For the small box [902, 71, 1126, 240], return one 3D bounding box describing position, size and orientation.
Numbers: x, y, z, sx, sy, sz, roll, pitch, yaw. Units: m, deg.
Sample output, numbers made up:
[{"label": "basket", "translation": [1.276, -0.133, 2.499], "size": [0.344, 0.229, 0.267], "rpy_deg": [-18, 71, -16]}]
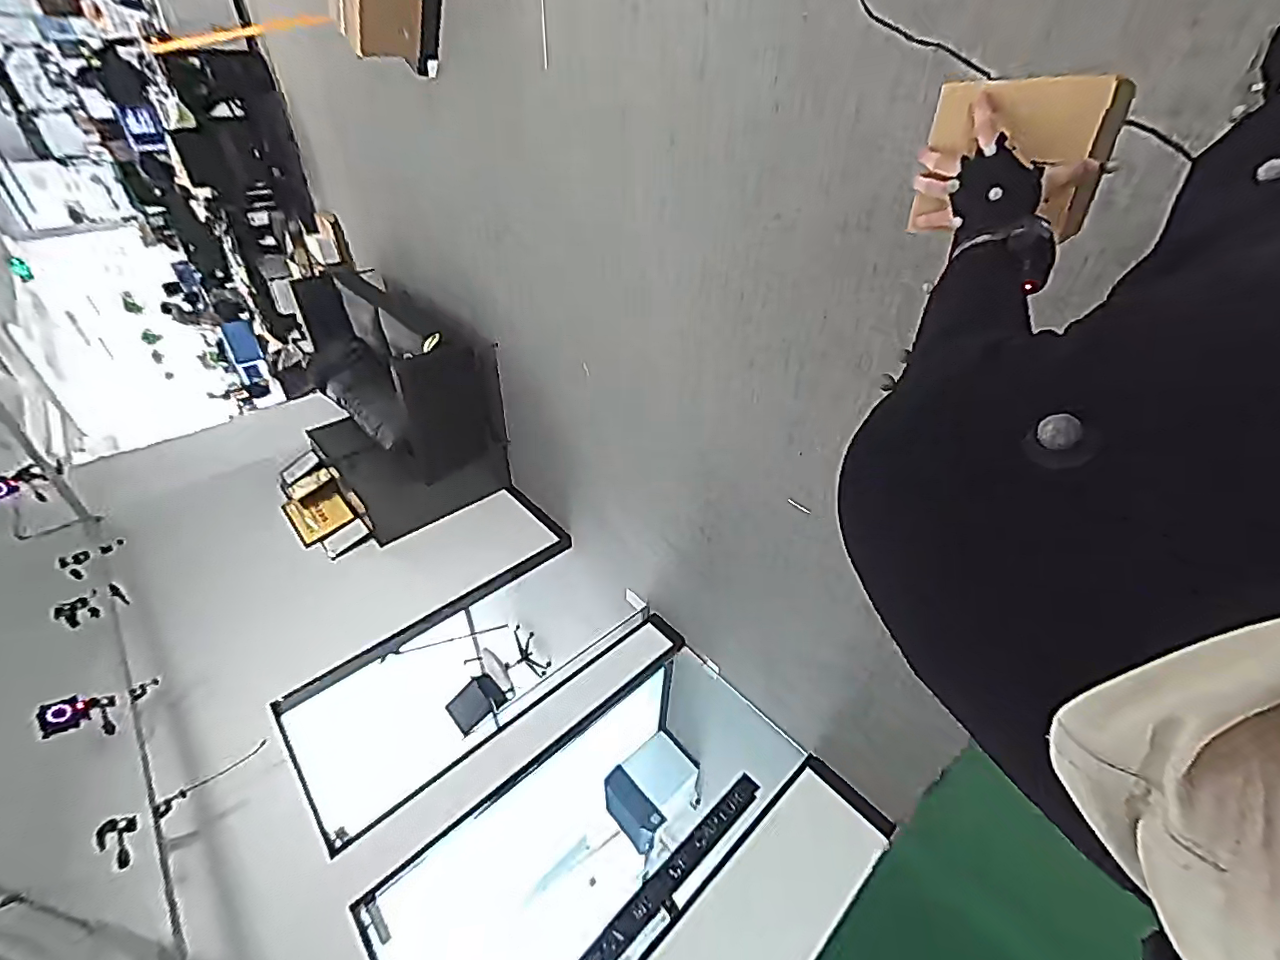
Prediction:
[{"label": "small box", "translation": [0.476, -0.415, 0.698], "size": [0.179, 0.176, 0.168], "rpy_deg": [27, 131, 36]}]
